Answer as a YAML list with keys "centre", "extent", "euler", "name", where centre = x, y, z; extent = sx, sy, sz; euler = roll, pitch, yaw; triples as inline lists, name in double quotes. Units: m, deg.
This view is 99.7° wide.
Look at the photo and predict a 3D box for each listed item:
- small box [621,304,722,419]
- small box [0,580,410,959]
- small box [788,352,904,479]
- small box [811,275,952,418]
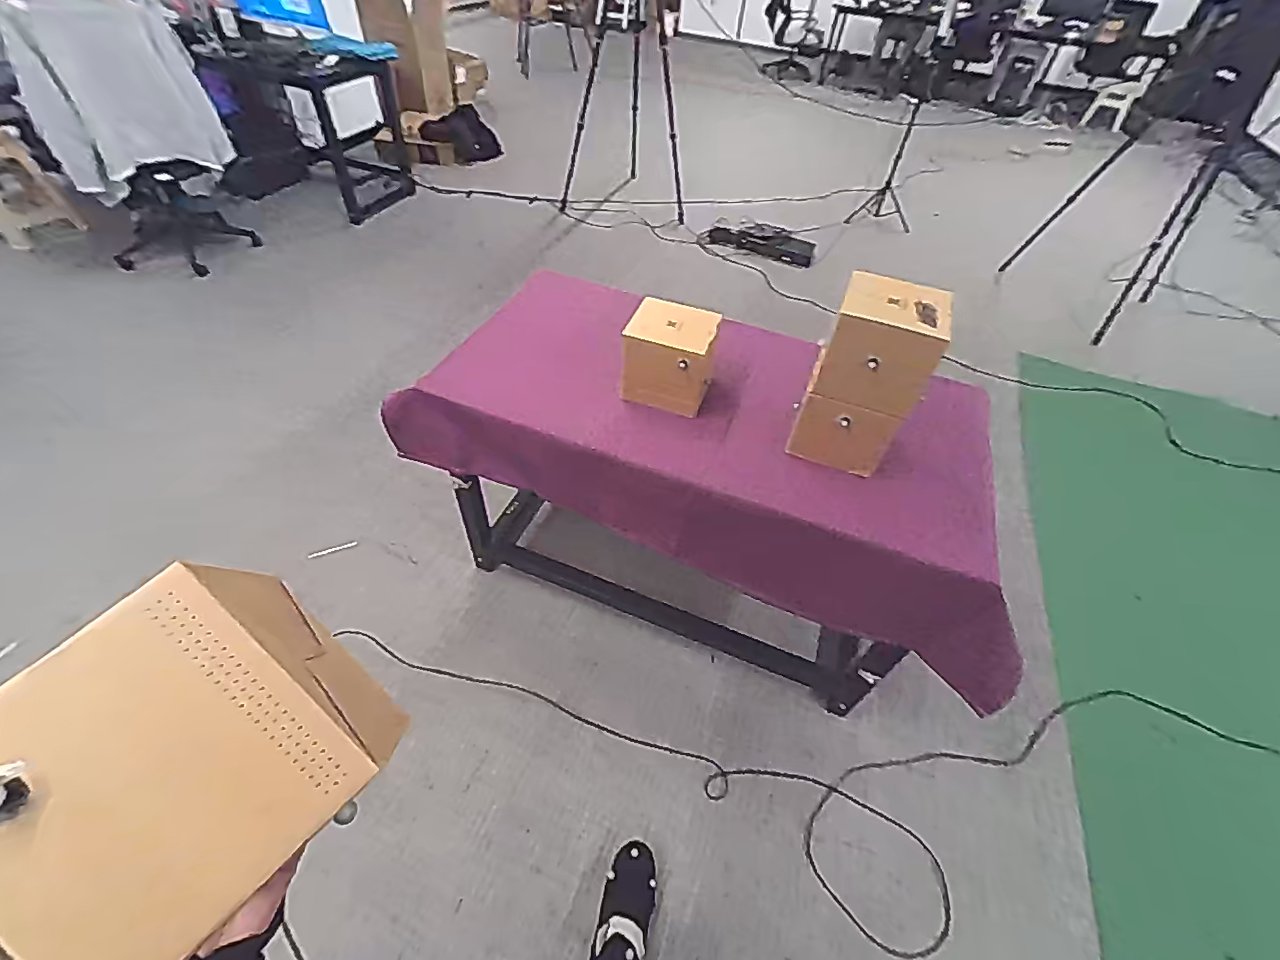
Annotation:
- centre: [0.065, -0.256, 1.183]
  extent: [0.179, 0.176, 0.168]
  euler: [17, 48, 9]
  name: "small box"
- centre: [-0.290, 0.183, 0.374]
  extent: [0.176, 0.168, 0.179]
  euler: [-43, 92, -21]
  name: "small box"
- centre: [0.416, -0.127, 1.094]
  extent: [0.179, 0.176, 0.168]
  euler: [20, 49, 12]
  name: "small box"
- centre: [0.430, -0.235, 0.971]
  extent: [0.179, 0.176, 0.168]
  euler: [19, 49, 13]
  name: "small box"
